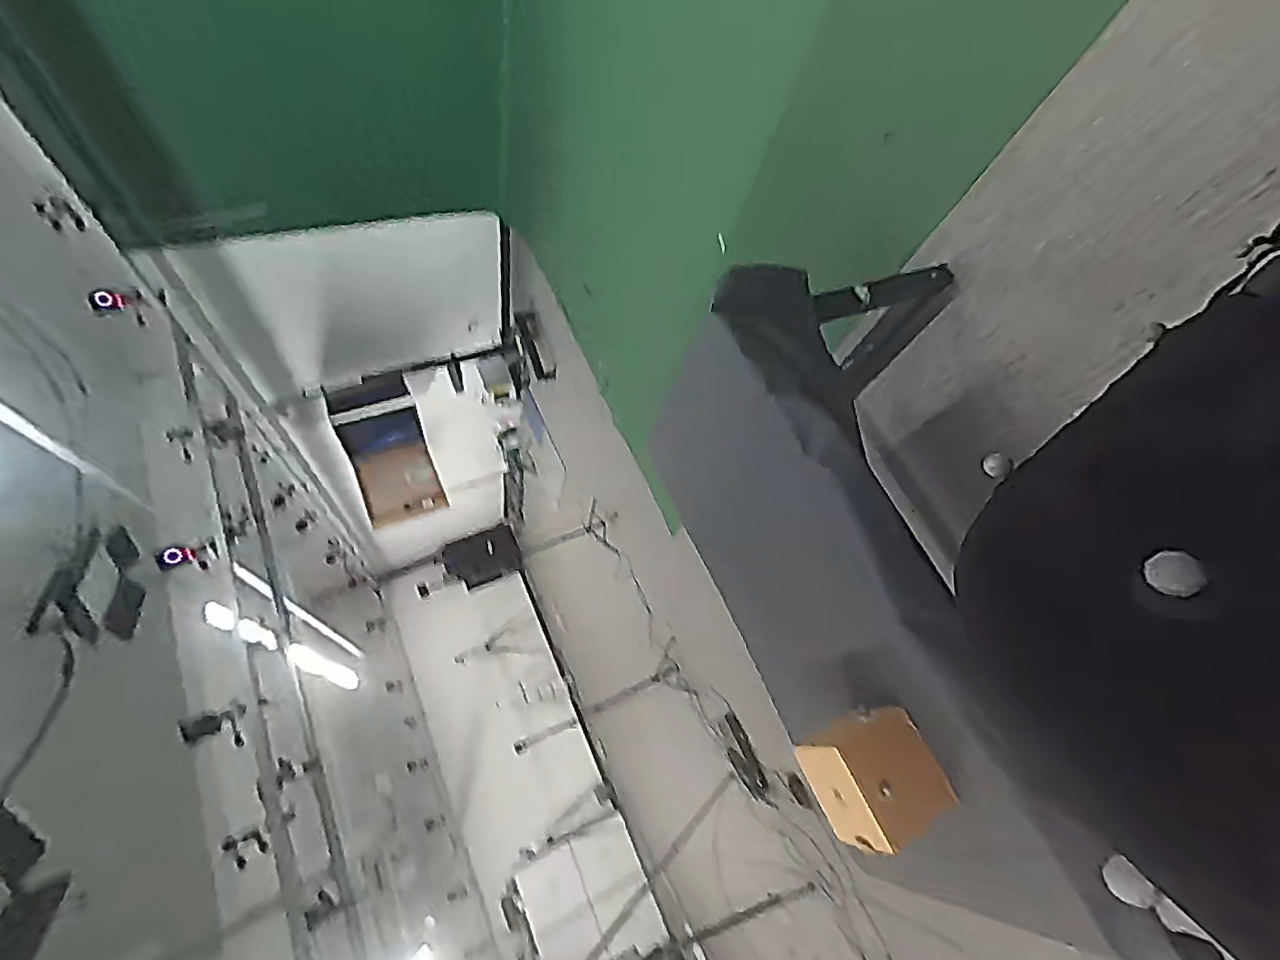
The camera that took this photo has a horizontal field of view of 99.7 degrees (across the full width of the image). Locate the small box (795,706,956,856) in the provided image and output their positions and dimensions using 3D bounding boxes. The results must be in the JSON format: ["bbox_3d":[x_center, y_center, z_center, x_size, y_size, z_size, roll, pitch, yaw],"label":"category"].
[{"bbox_3d":[0.426,0.540,0.987,0.179,0.176,0.168,64,156,20],"label":"small box"}]
